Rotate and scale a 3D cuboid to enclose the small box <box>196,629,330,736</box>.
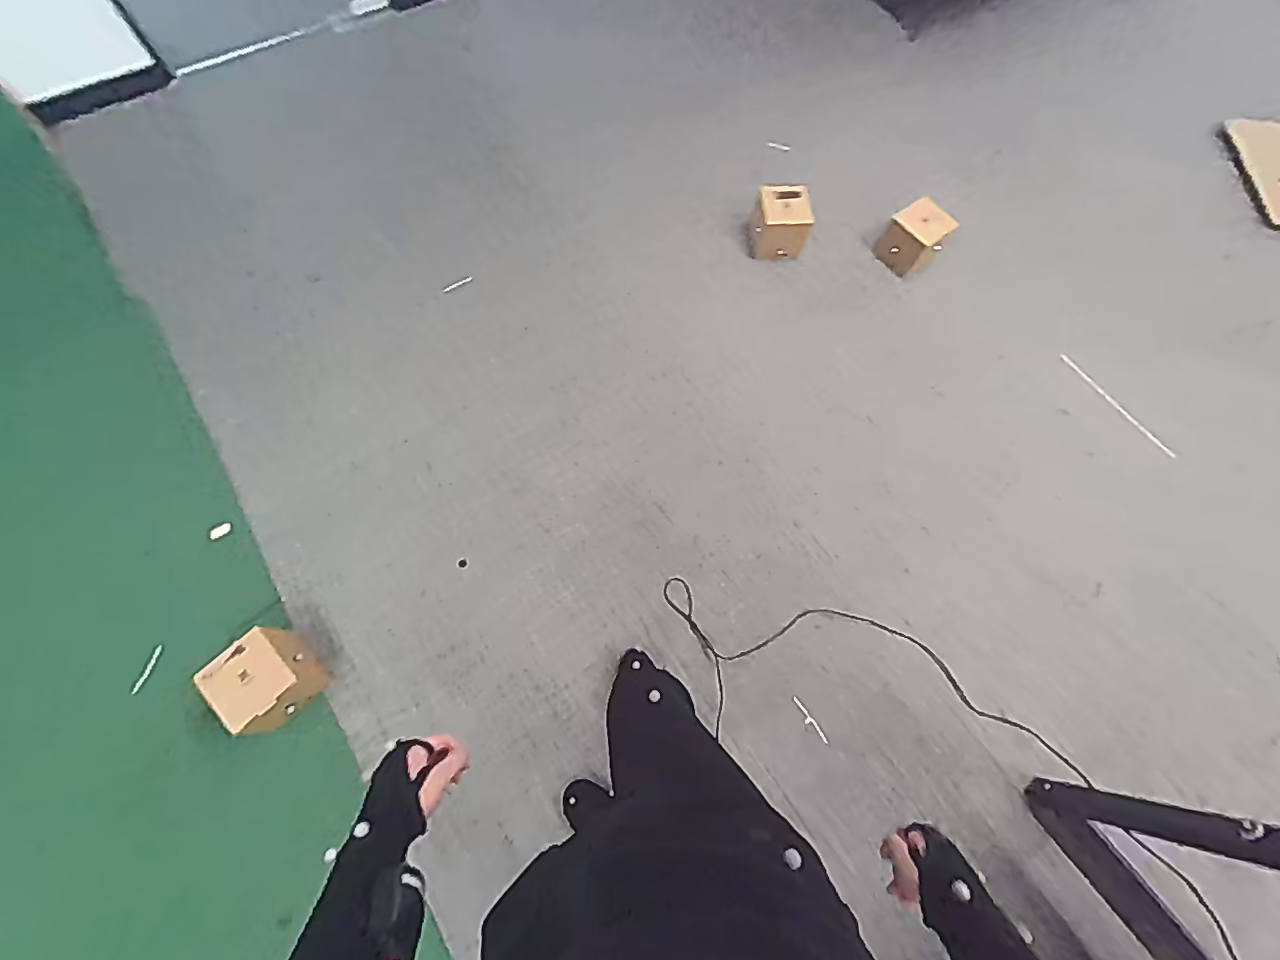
[{"bbox_3d":[-0.899,0.484,1.309,0.168,0.176,0.179,-42,77,-17],"label":"small box"}]

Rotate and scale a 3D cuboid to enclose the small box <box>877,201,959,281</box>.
[{"bbox_3d":[0.991,-0.857,1.952,0.179,0.176,0.168,-35,75,-15],"label":"small box"}]
